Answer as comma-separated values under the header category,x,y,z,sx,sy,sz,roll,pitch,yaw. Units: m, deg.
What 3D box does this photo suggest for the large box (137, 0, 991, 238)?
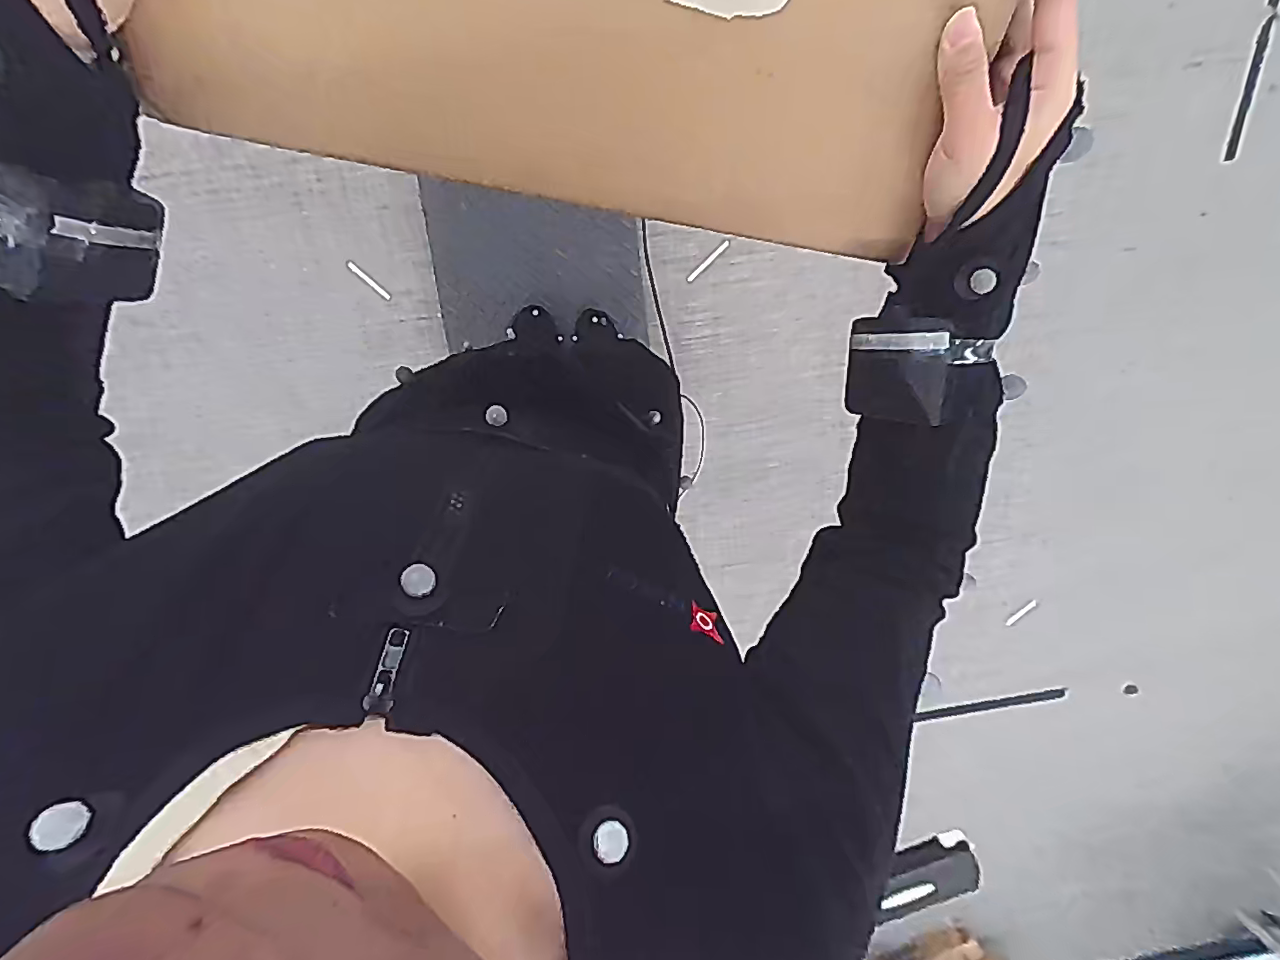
category,x,y,z,sx,sy,sz,roll,pitch,yaw
large box,-0.026,-0.371,0.339,0.408,0.320,0.320,7,124,-8
